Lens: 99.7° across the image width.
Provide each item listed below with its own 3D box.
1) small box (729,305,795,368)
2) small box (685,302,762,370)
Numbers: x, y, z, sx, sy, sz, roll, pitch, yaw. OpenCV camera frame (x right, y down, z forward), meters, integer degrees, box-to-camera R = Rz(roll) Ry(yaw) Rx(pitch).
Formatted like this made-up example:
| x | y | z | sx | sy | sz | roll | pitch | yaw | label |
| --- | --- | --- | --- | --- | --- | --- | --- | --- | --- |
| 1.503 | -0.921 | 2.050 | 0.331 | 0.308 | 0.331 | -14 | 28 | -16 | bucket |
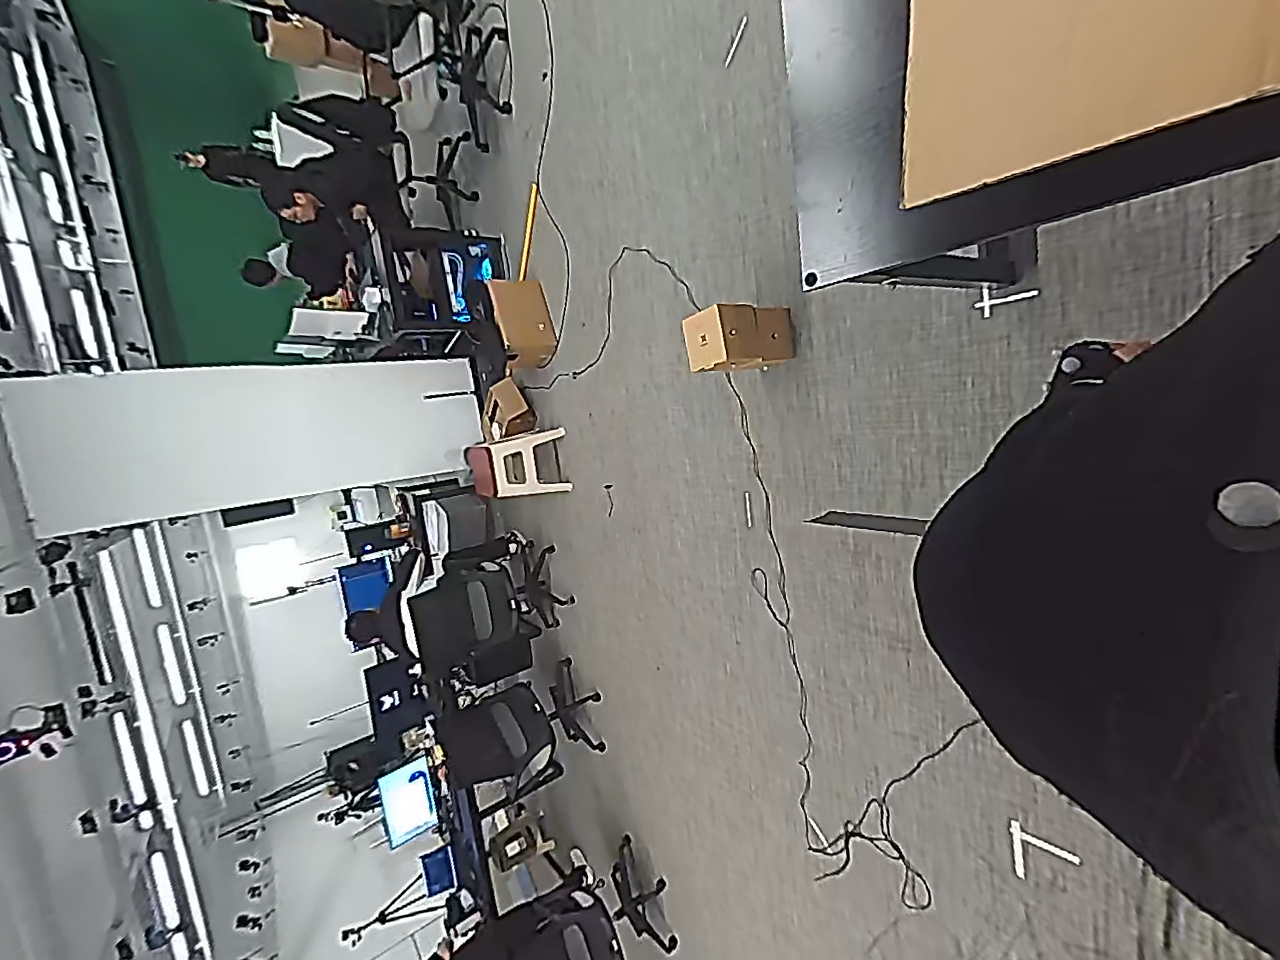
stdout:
| x | y | z | sx | sy | sz | roll | pitch | yaw | label |
| --- | --- | --- | --- | --- | --- | --- | --- | --- | --- |
| 0.403 | -0.482 | 1.829 | 0.168 | 0.176 | 0.179 | -2 | 99 | 55 | small box |
| 0.271 | -0.460 | 1.737 | 0.168 | 0.176 | 0.179 | -8 | 92 | 54 | small box |
